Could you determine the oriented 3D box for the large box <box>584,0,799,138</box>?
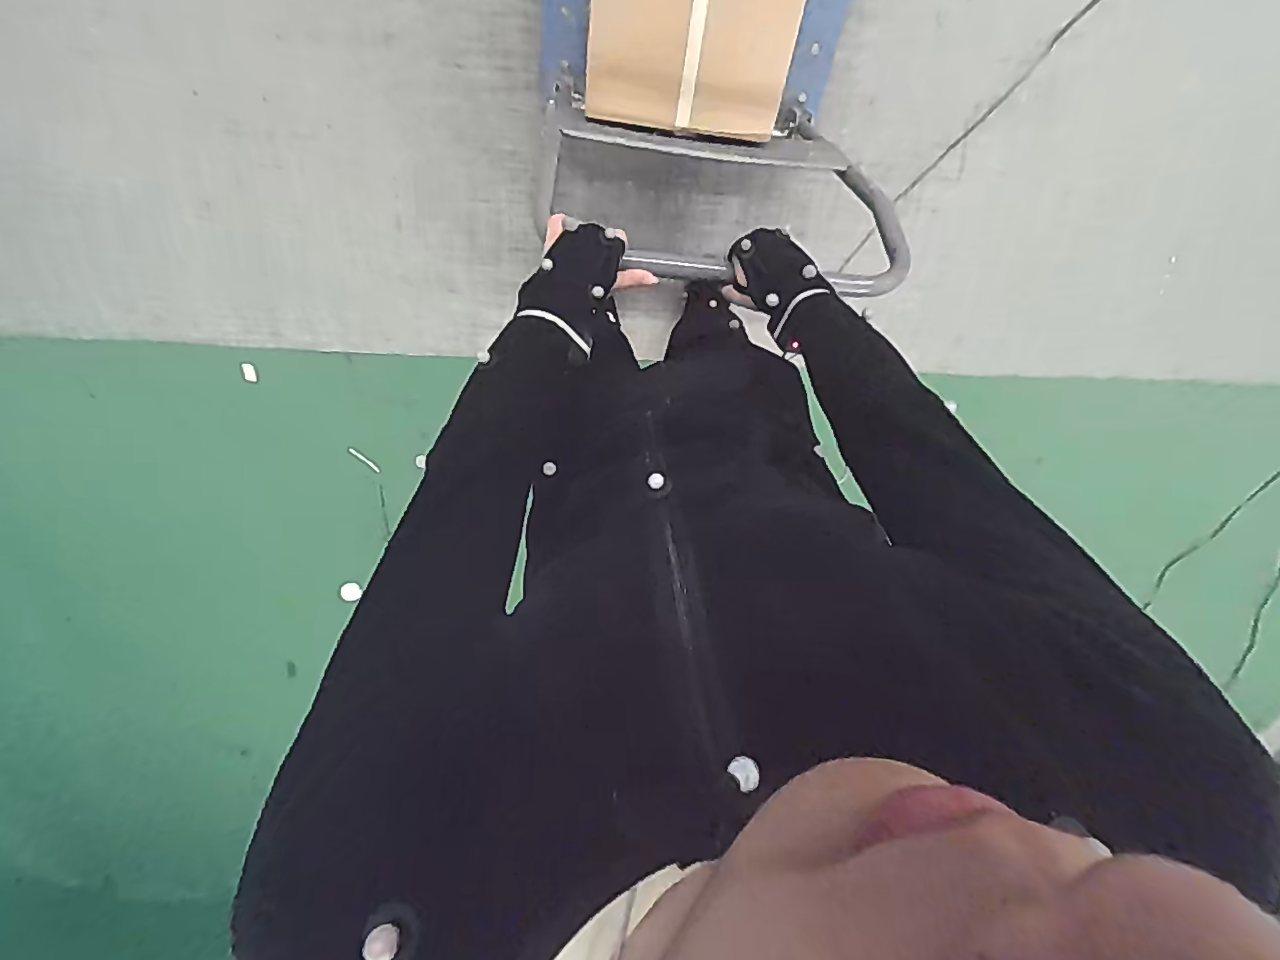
[{"bbox_3d":[0.079,-0.827,0.878,0.320,0.320,0.408,3,130,-7],"label":"large box"}]
